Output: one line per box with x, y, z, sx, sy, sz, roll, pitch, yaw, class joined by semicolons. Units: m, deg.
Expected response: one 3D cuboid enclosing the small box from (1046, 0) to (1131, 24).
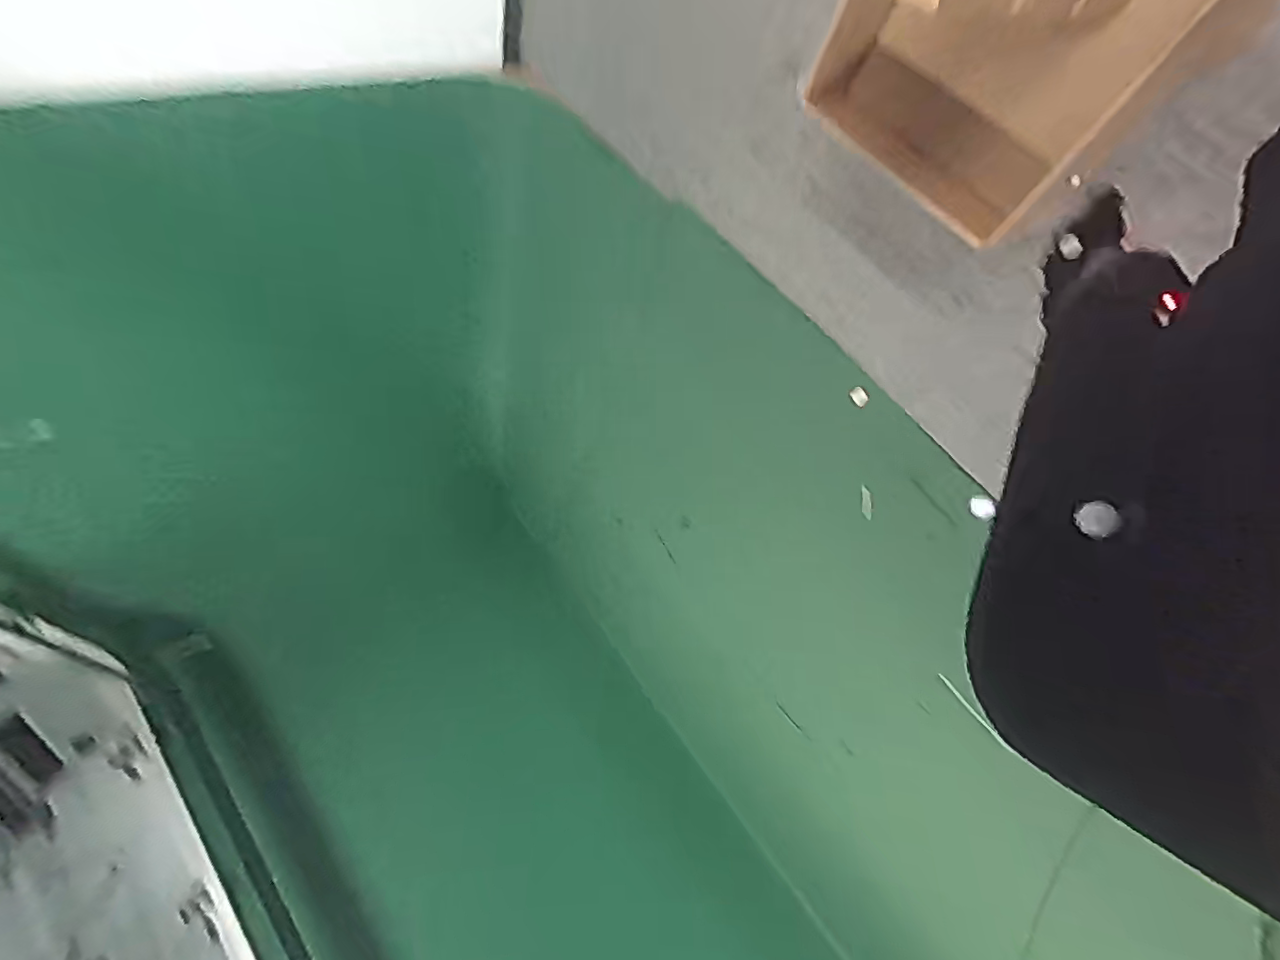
0.493;-0.642;0.606;0.179;0.176;0.168;47;148;22;small box
